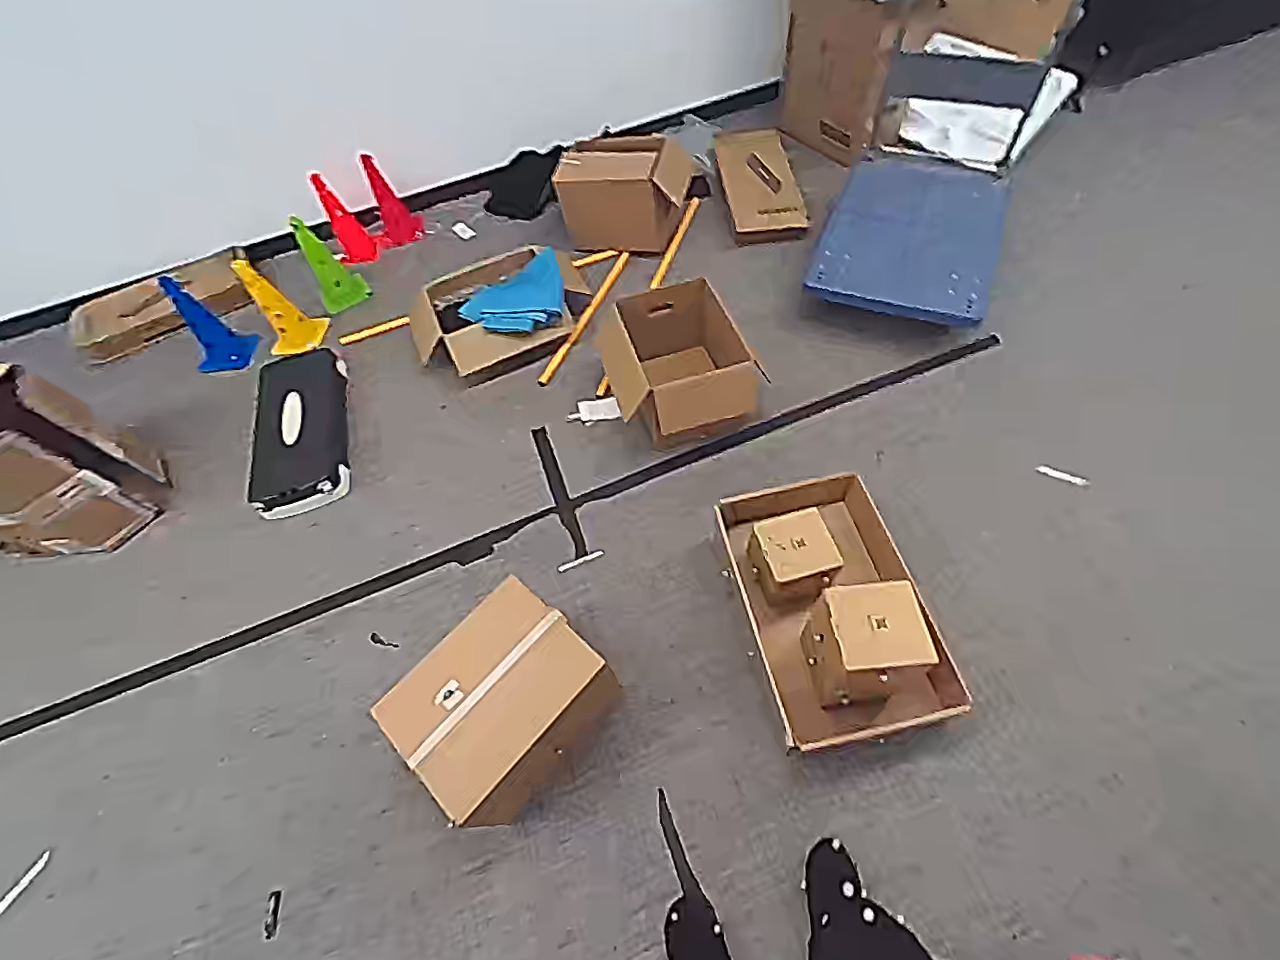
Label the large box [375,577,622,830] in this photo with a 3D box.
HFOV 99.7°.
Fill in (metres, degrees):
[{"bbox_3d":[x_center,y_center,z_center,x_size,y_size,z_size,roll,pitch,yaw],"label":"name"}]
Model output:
[{"bbox_3d":[-0.297,0.511,1.253,0.320,0.320,0.408,35,69,25],"label":"large box"}]
